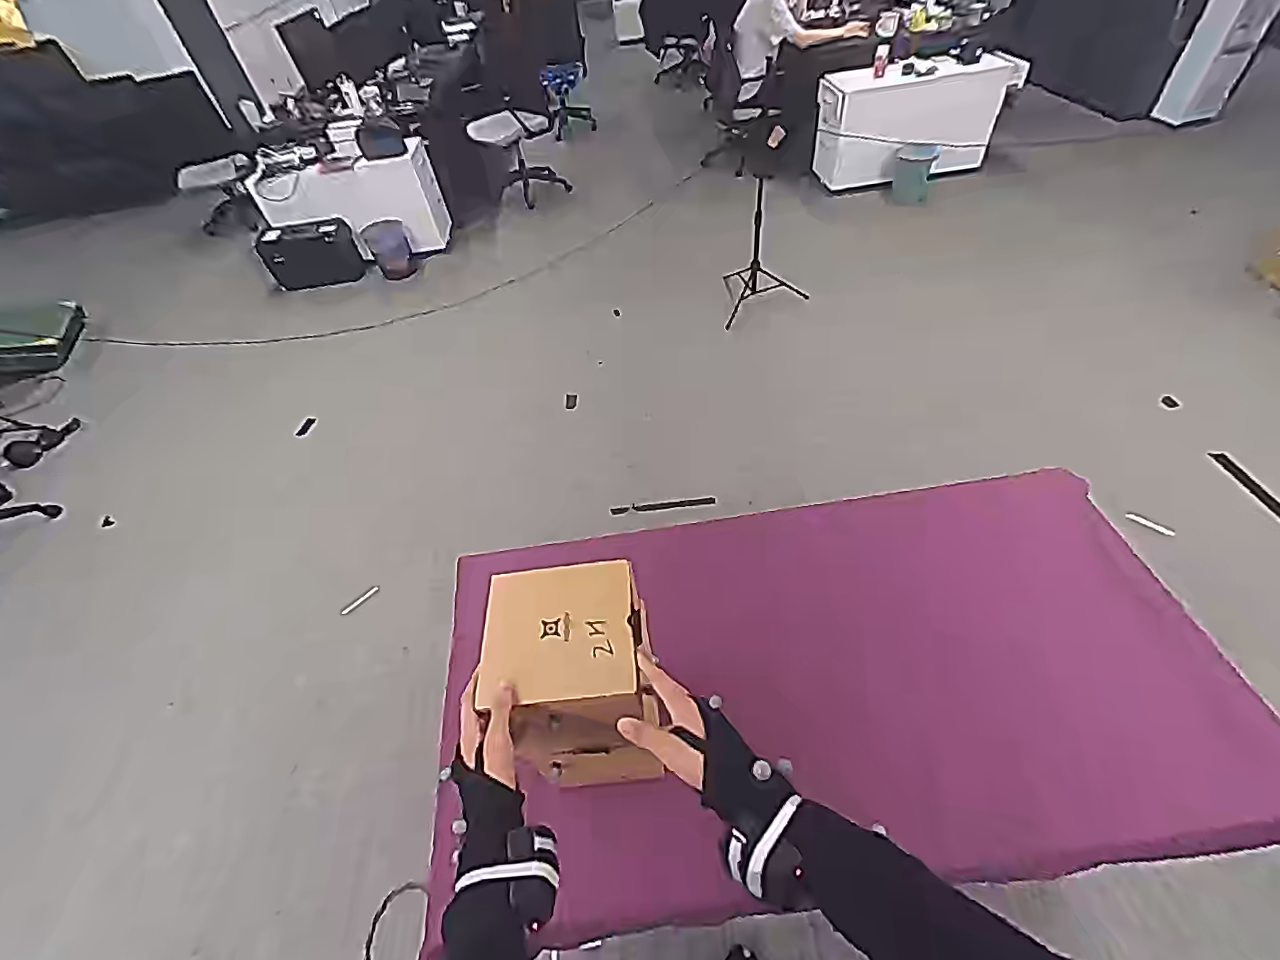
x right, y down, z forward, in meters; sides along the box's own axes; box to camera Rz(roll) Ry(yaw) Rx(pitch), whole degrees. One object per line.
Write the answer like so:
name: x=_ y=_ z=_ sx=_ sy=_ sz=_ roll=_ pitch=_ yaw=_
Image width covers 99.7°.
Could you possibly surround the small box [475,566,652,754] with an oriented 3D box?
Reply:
small box: x=-0.084 y=0.229 z=0.676 sx=0.179 sy=0.176 sz=0.168 roll=-6 pitch=48 yaw=2
